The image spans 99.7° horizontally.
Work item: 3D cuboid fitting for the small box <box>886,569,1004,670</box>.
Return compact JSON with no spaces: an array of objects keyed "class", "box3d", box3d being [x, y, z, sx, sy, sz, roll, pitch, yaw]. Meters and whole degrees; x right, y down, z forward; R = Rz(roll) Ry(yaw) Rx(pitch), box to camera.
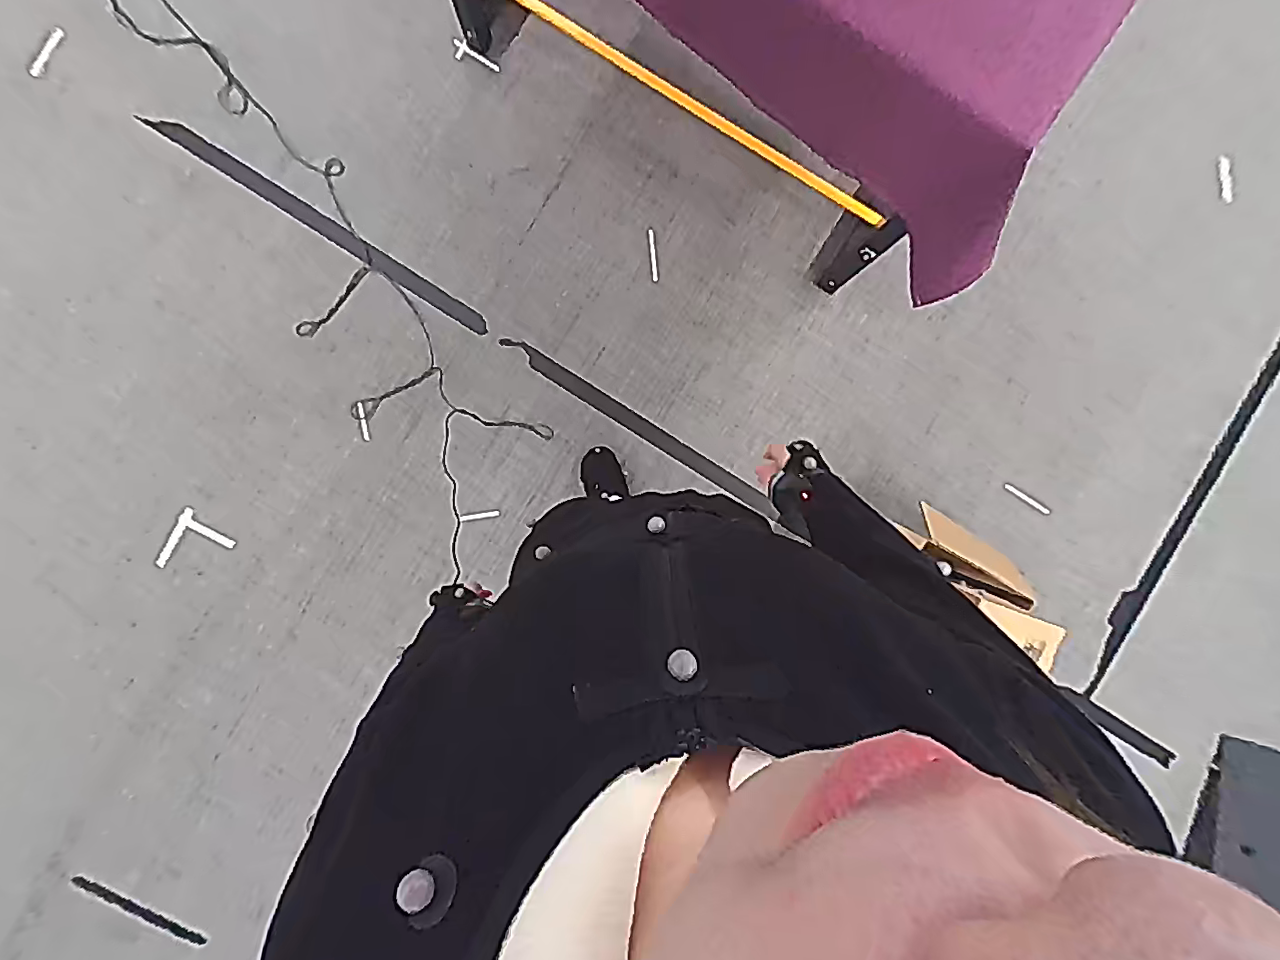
[{"class":"small box","box3d":[0.709,0.321,1.279,0.168,0.176,0.179,10,95,-1]}]
